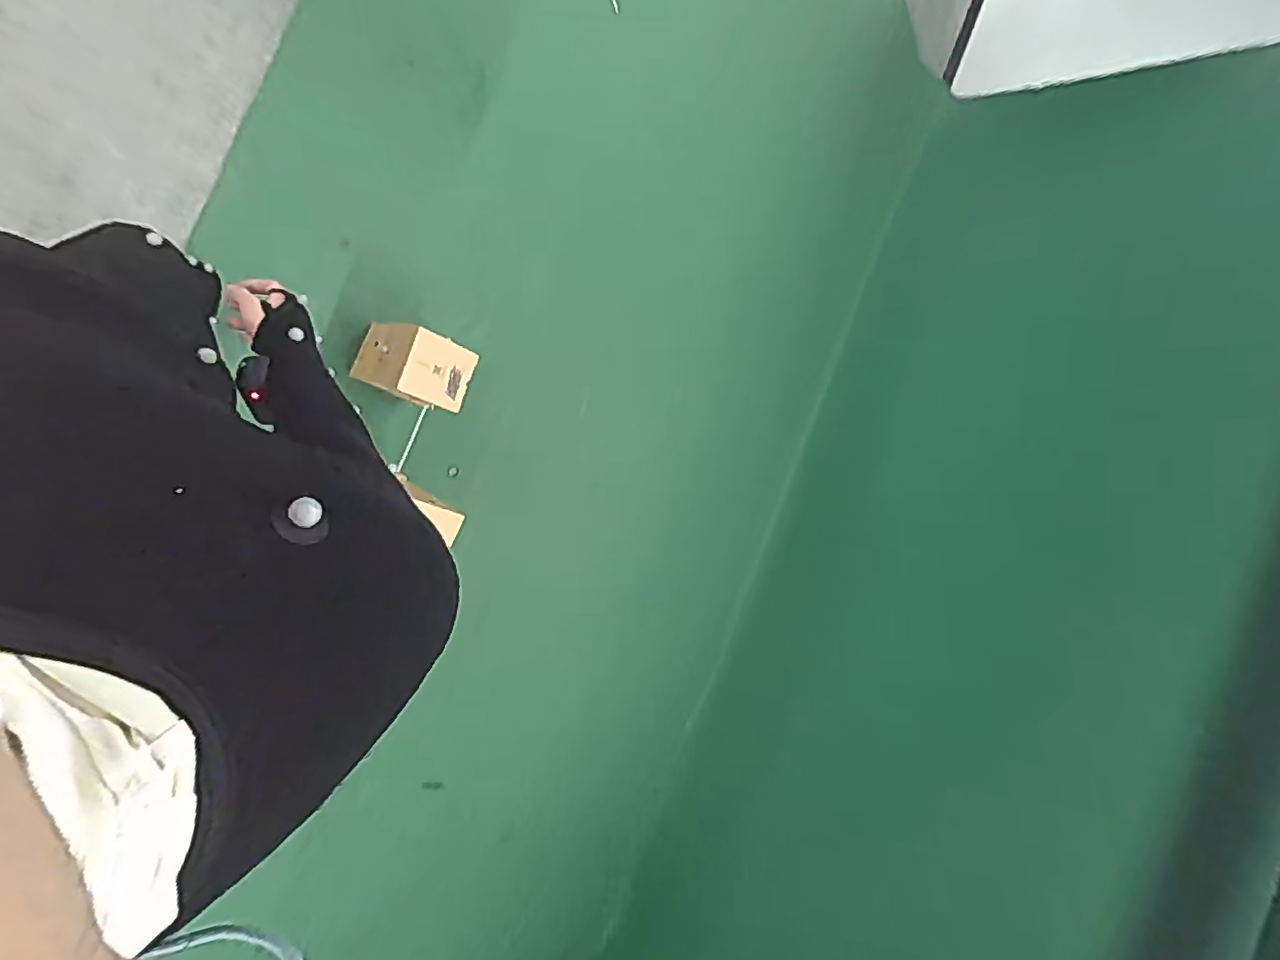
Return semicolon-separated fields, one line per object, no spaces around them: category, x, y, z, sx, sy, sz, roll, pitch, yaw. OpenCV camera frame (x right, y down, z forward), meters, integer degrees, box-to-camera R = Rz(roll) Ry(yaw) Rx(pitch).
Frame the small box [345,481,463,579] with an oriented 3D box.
small box;-0.571;0.117;1.307;0.179;0.176;0.168;31;82;-47

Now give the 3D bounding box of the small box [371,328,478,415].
small box;-0.564;-0.287;1.412;0.179;0.176;0.168;22;88;-48

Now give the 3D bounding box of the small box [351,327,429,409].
small box;-0.680;-0.319;1.525;0.179;0.176;0.168;27;84;-49

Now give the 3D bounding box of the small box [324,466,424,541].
small box;-0.685;0.078;1.419;0.179;0.176;0.168;31;82;-48
